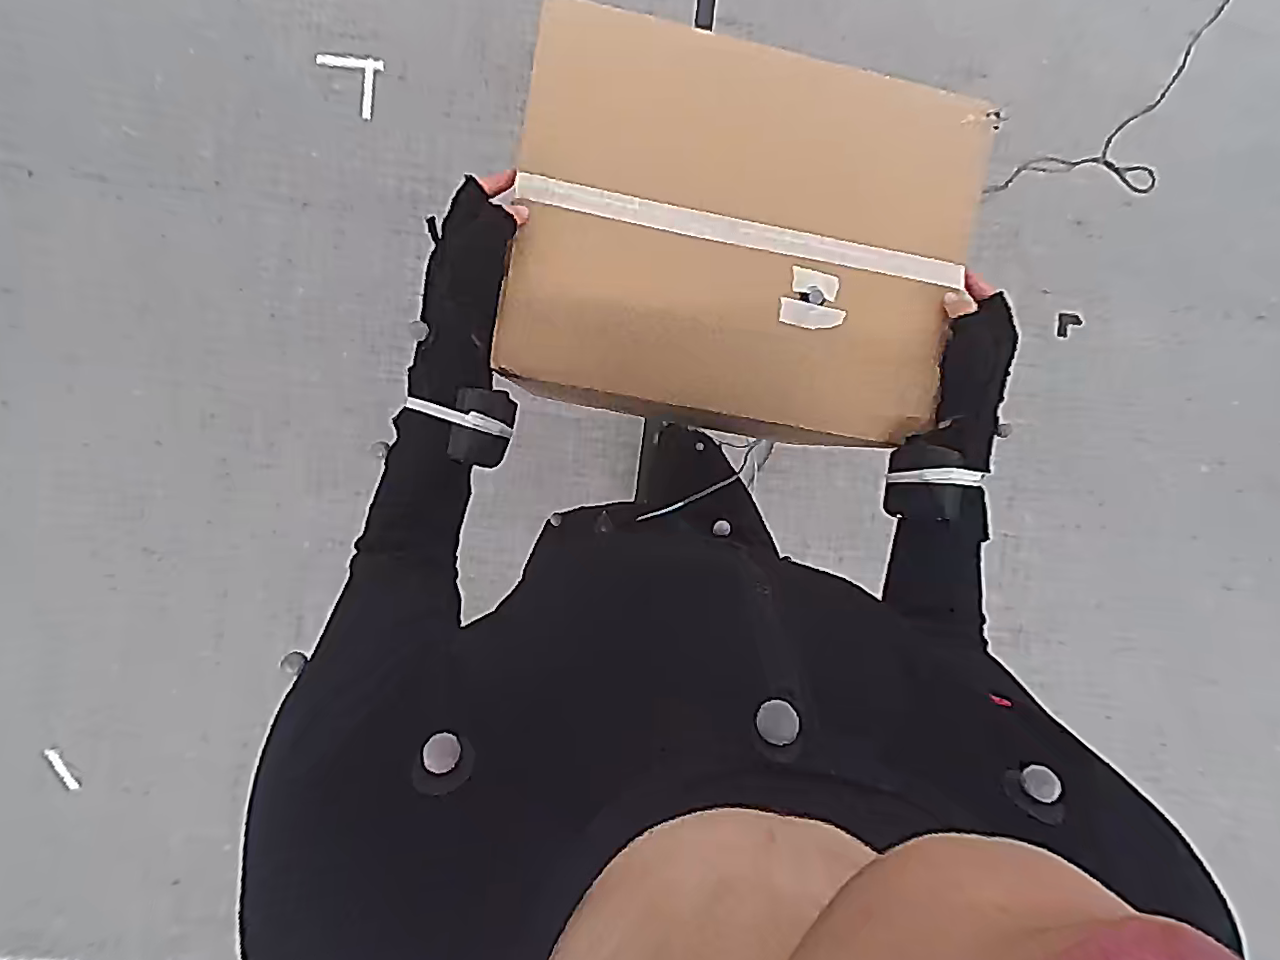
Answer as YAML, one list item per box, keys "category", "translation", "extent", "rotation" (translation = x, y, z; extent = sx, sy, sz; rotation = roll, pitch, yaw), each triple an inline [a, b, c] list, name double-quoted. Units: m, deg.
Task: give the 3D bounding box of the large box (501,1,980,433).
- category: "large box"
  translation: [0.079, -0.238, 0.632]
  extent: [0.408, 0.320, 0.320]
  rotation: [10, 95, -6]
